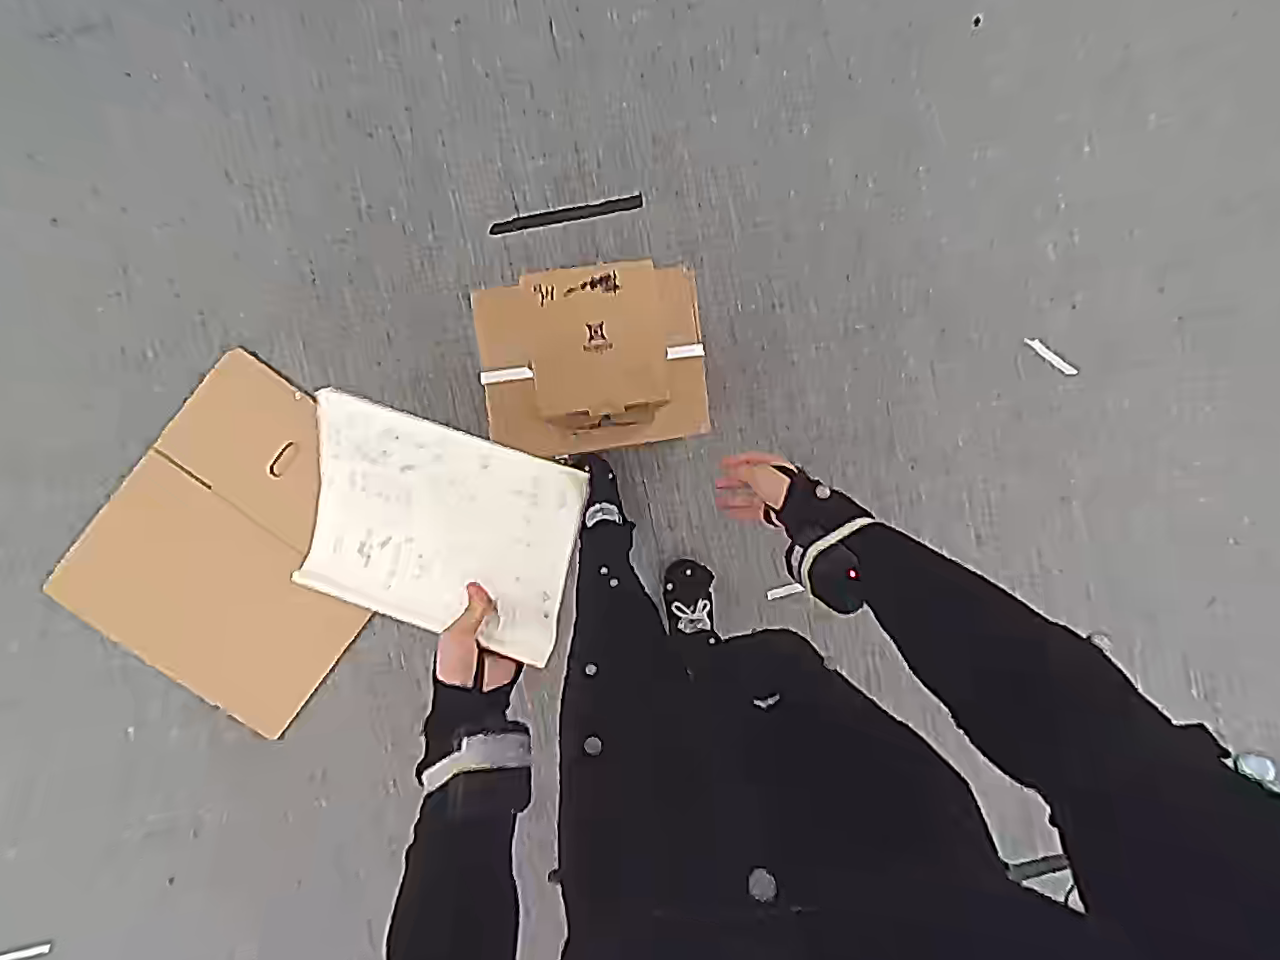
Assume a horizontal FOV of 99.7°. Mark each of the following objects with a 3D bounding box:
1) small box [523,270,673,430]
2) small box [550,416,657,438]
[{"bbox_3d":[-0.055,-0.164,0.733,0.168,0.176,0.179,-9,94,-4],"label":"small box"},{"bbox_3d":[-0.065,-0.162,0.897,0.168,0.176,0.179,-5,92,-4],"label":"small box"}]
